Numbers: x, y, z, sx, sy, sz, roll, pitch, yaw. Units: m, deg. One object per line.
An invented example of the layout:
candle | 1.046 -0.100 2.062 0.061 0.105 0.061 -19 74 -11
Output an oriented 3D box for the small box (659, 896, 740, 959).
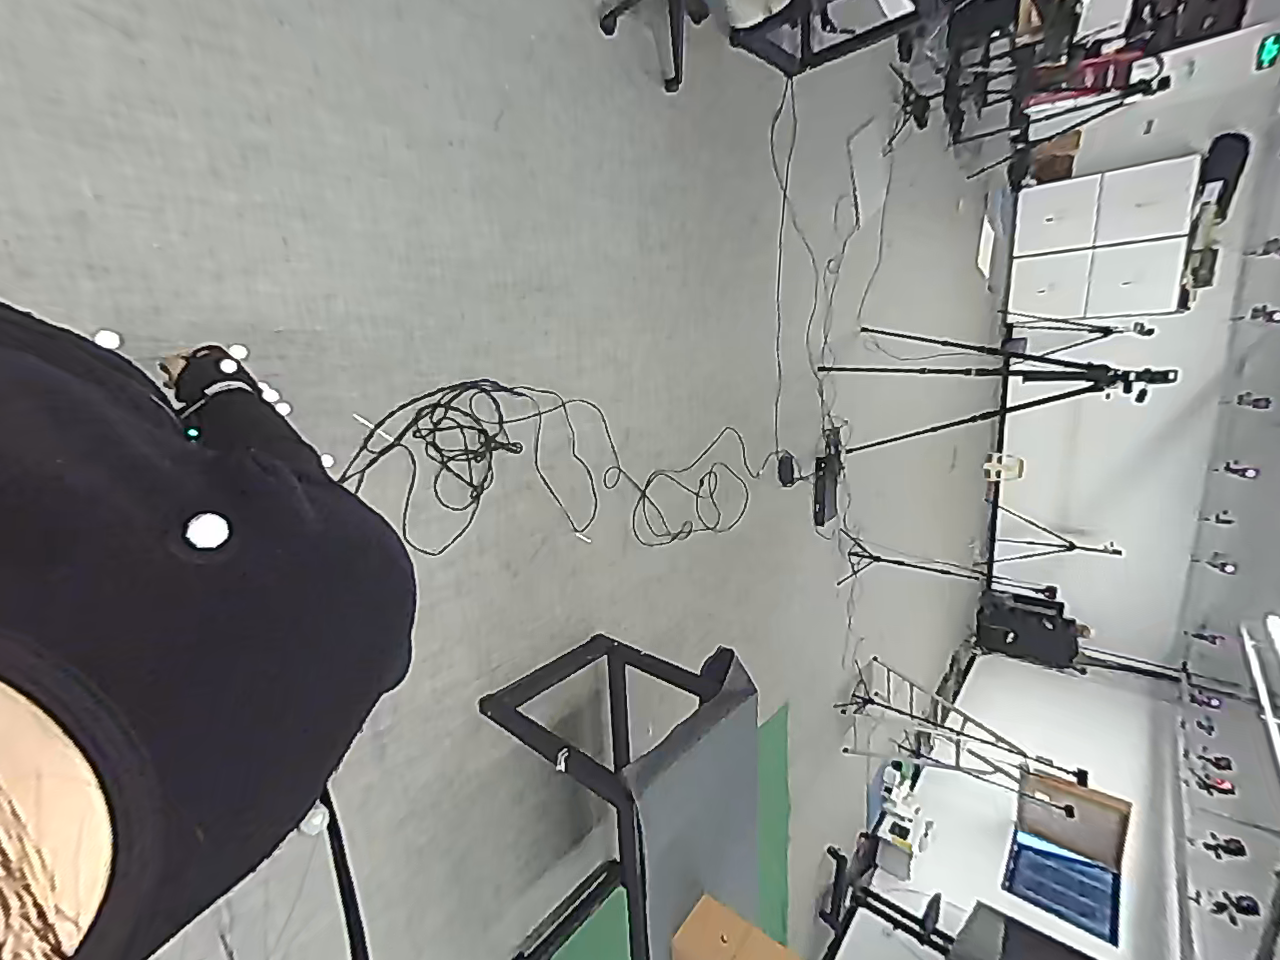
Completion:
small box | 0.172 1.359 1.548 0.179 0.176 0.168 -22 112 -46
